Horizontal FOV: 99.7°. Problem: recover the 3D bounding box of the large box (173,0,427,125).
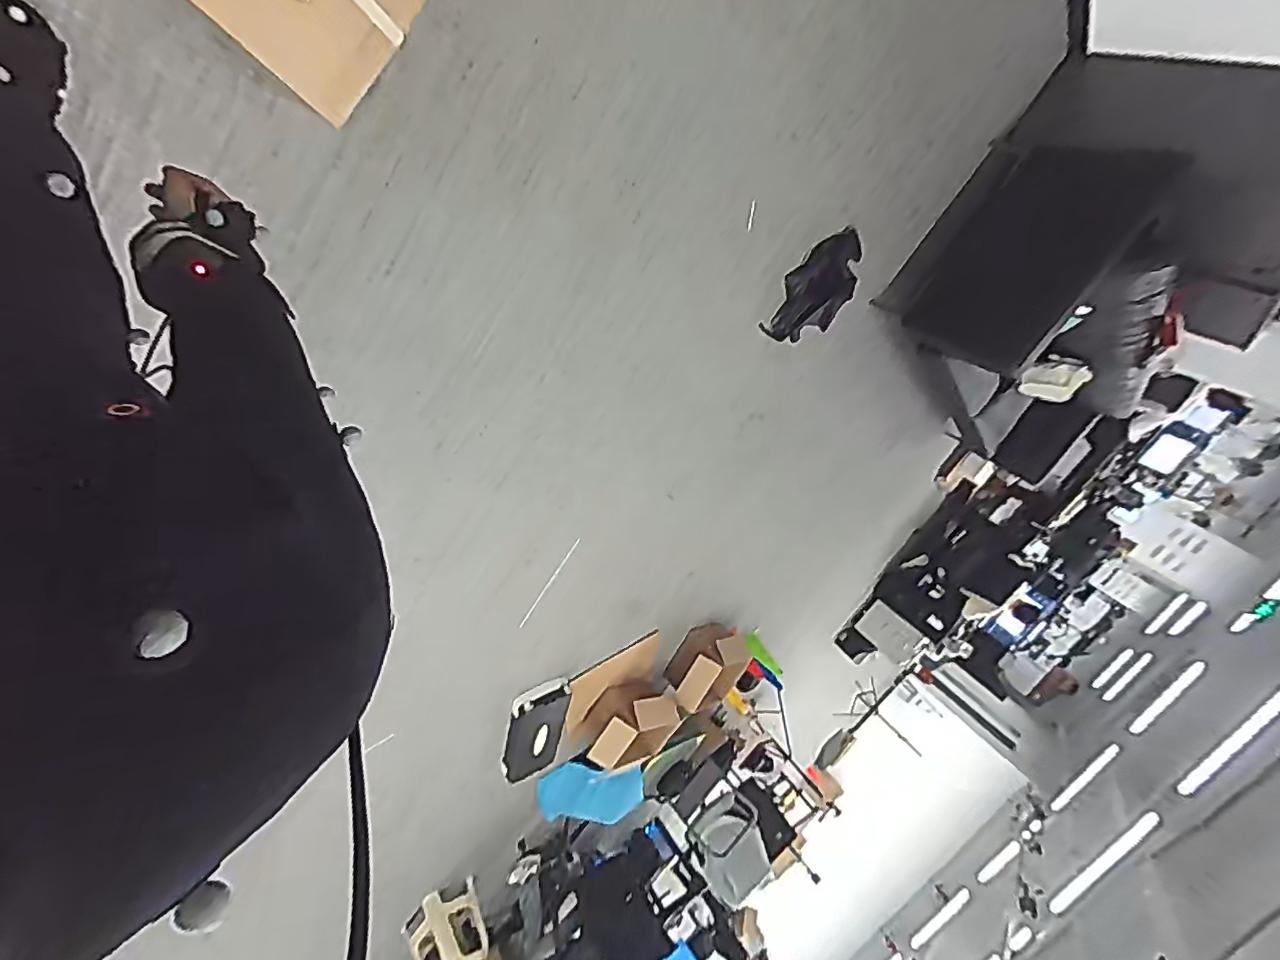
[{"bbox_3d":[-0.544,-0.782,0.716,0.320,0.320,0.408,-51,145,6],"label":"large box"}]
